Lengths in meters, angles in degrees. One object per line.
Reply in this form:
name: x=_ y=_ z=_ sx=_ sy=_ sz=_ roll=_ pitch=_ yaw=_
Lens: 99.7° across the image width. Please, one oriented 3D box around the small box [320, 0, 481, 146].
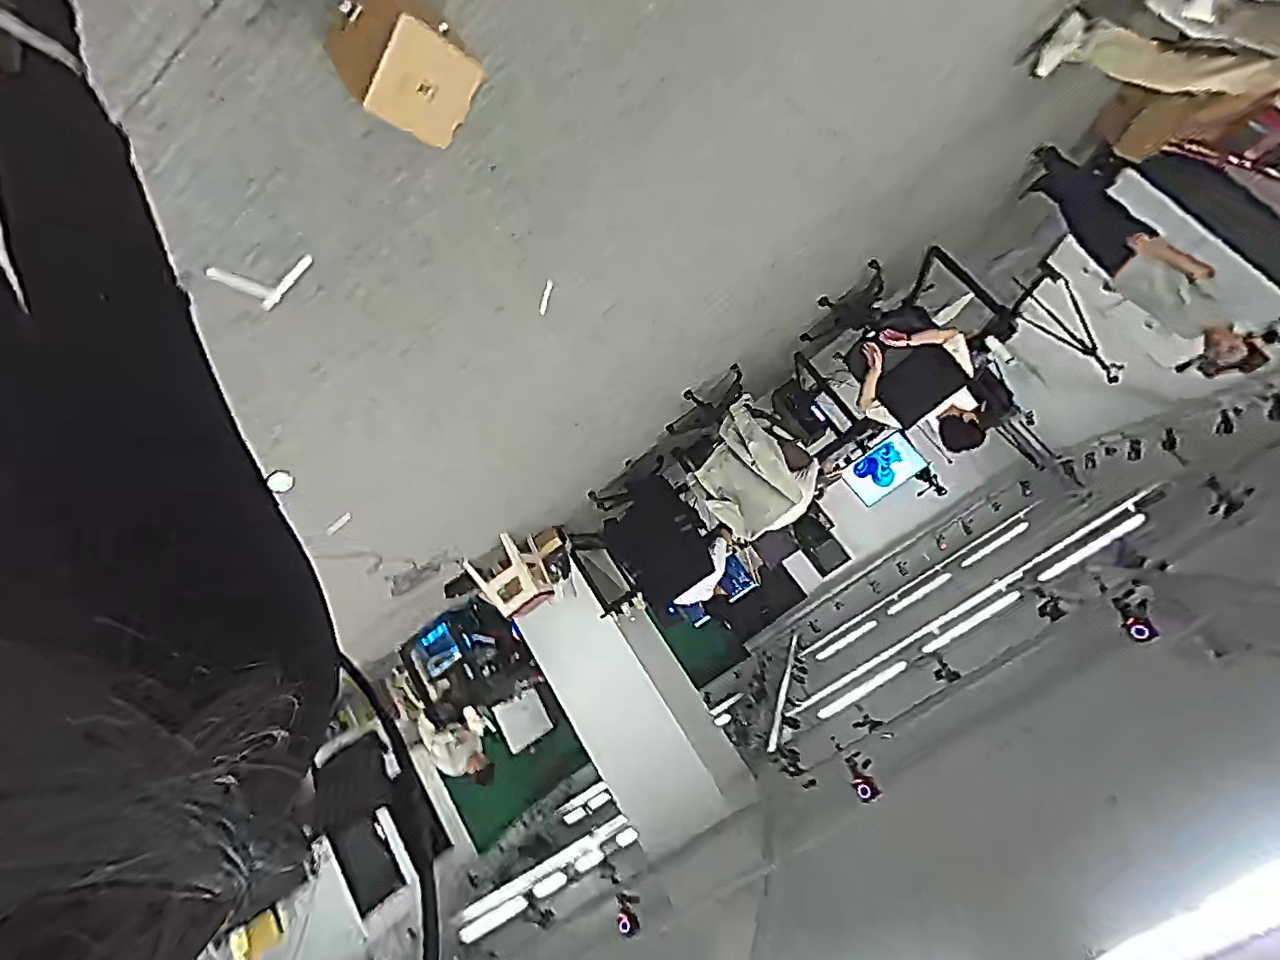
small box: x=-0.428 y=-0.755 z=0.967 sx=0.168 sy=0.176 sz=0.179 roll=-44 pitch=162 yaw=28
